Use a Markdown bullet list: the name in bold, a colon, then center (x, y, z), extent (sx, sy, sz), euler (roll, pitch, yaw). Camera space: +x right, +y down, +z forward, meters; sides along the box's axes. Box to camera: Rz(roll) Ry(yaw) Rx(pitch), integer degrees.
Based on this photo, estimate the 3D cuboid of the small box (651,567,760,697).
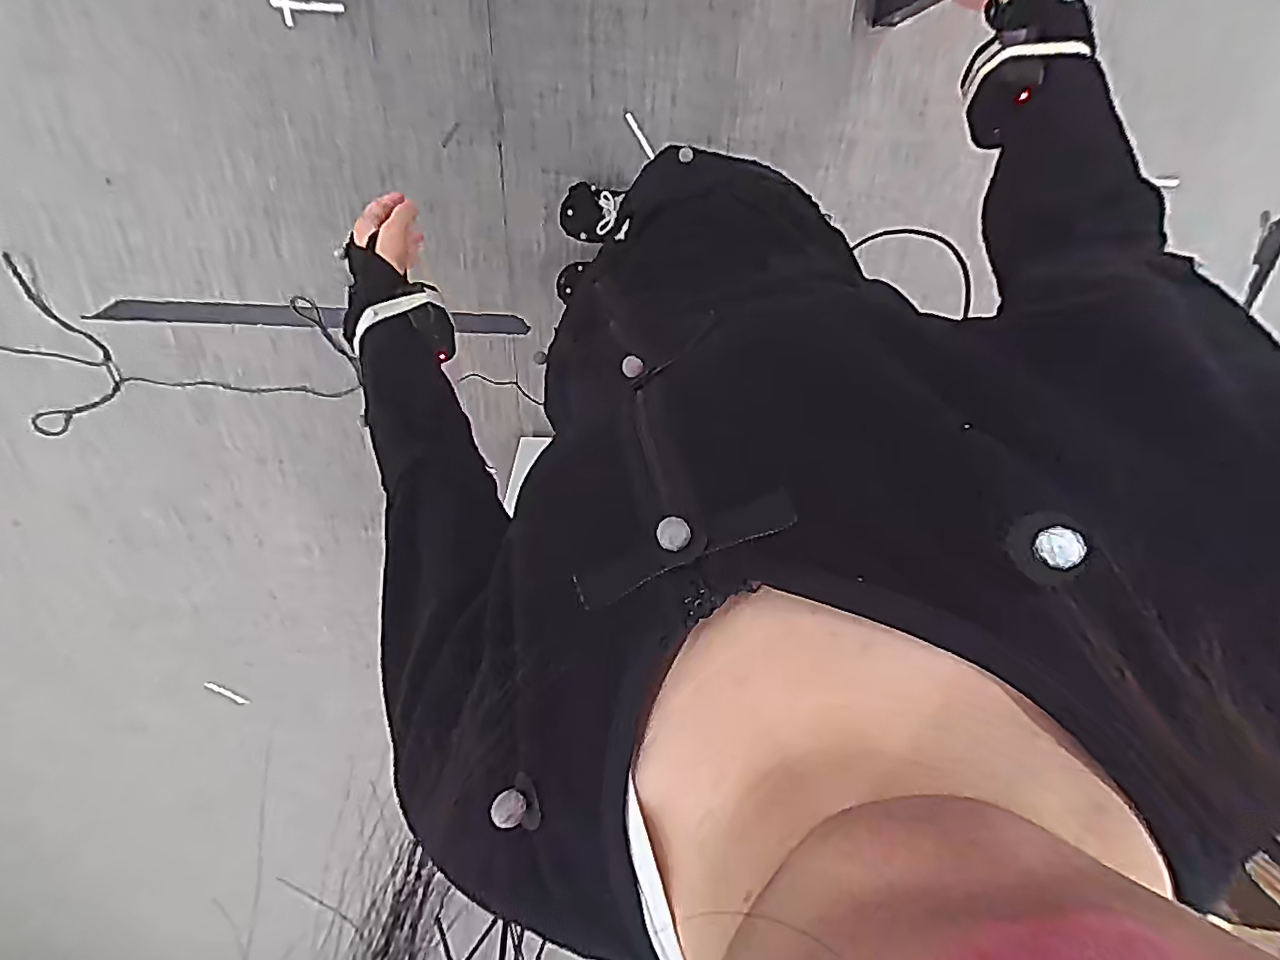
- **small box**: center (0.113, 0.285, 1.022), extent (0.168, 0.176, 0.179), euler (1, 120, -6)
